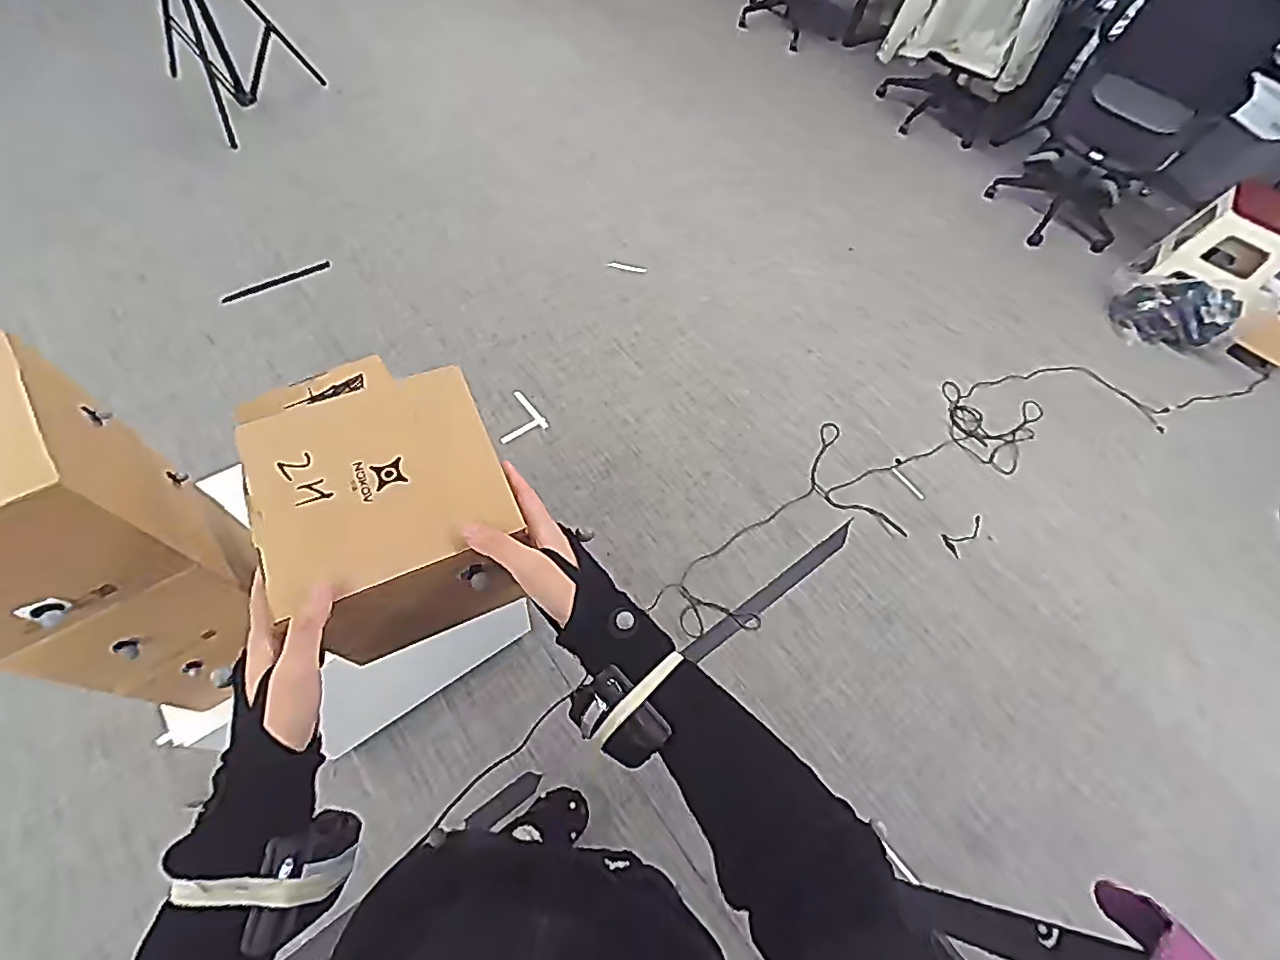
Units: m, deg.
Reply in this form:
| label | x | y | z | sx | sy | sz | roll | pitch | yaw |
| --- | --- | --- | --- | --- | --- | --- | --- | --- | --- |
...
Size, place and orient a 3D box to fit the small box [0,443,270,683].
| label | x | y | z | sx | sy | sz | roll | pitch | yaw |
| --- | --- | --- | --- | --- | --- | --- | --- | --- | --- |
| small box | -0.547 | 0.099 | 0.586 | 0.168 | 0.176 | 0.179 | -32 | 69 | -23 |

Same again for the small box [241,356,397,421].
| label | x | y | z | sx | sy | sz | roll | pitch | yaw |
| --- | --- | --- | --- | --- | --- | --- | --- | --- | --- |
| small box | -0.346 | -0.016 | 0.677 | 0.168 | 0.176 | 0.179 | -30 | 70 | -21 |

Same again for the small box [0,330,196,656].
| label | x | y | z | sx | sy | sz | roll | pitch | yaw |
| --- | --- | --- | --- | --- | --- | --- | --- | --- | --- |
| small box | -0.527 | 0.018 | 0.447 | 0.168 | 0.176 | 0.179 | -33 | 71 | -22 |

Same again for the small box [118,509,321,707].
| label | x | y | z | sx | sy | sz | roll | pitch | yaw |
| --- | --- | --- | --- | --- | --- | --- | --- | --- | --- |
| small box | -0.570 | 0.177 | 0.728 | 0.168 | 0.176 | 0.179 | -31 | 69 | -23 |

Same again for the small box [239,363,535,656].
| label | x | y | z | sx | sy | sz | roll | pitch | yaw |
| --- | --- | --- | --- | --- | --- | --- | --- | --- | --- |
| small box | -0.199 | 0.032 | 0.471 | 0.179 | 0.176 | 0.168 | -21 | 67 | -16 |
